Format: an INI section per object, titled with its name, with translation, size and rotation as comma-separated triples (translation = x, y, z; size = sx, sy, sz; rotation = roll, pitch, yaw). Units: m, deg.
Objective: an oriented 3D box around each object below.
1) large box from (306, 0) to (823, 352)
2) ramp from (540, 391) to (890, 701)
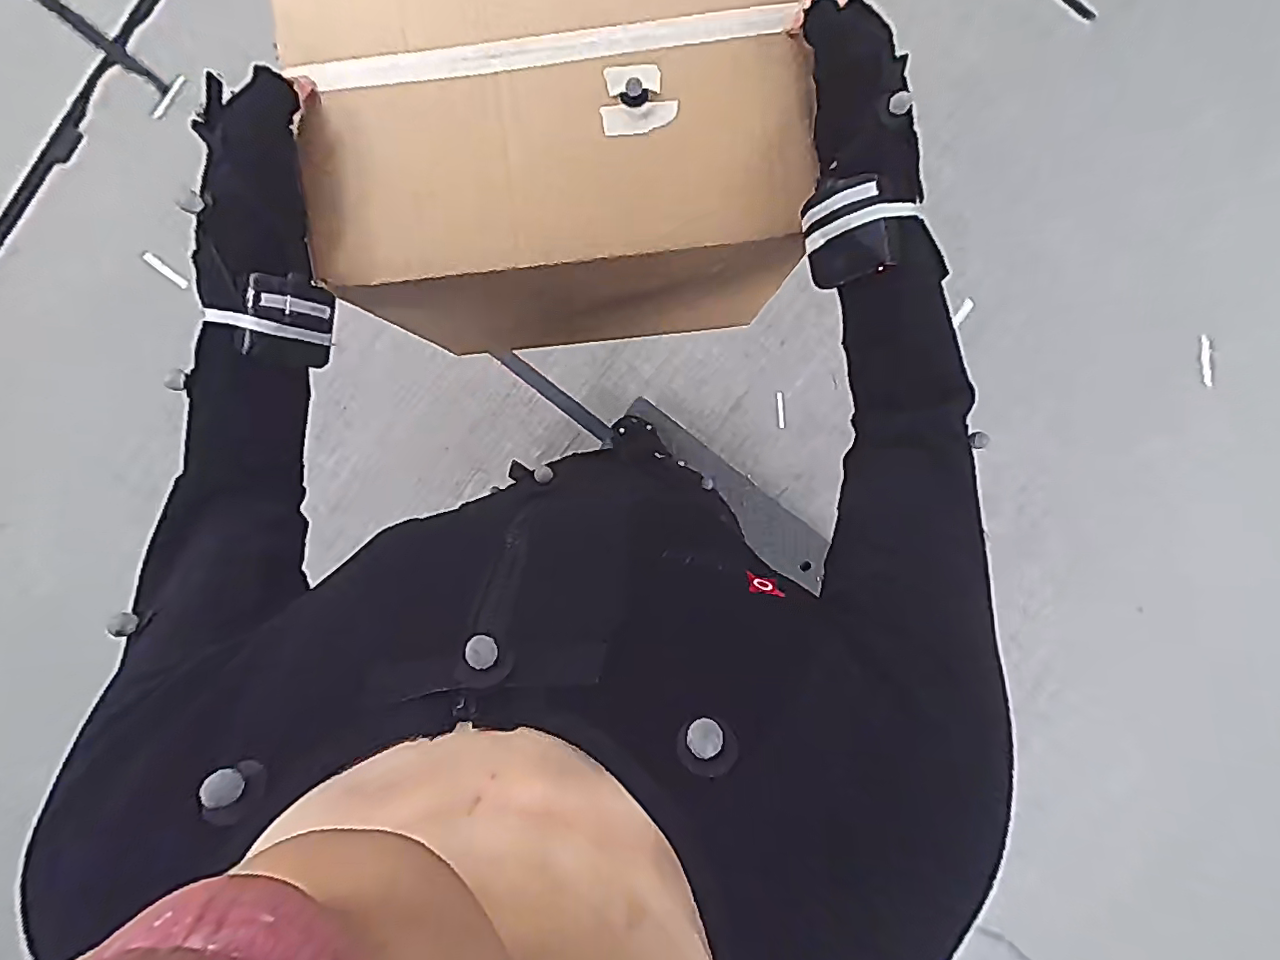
[large box]
translation = -0.063, -0.340, 0.581
size = 0.408, 0.320, 0.320
rotation = -6, 93, 1
[ramp]
translation = 0.255, 0.225, 1.589
size = 0.991, 0.206, 0.509
rotation = 35, 92, -3
